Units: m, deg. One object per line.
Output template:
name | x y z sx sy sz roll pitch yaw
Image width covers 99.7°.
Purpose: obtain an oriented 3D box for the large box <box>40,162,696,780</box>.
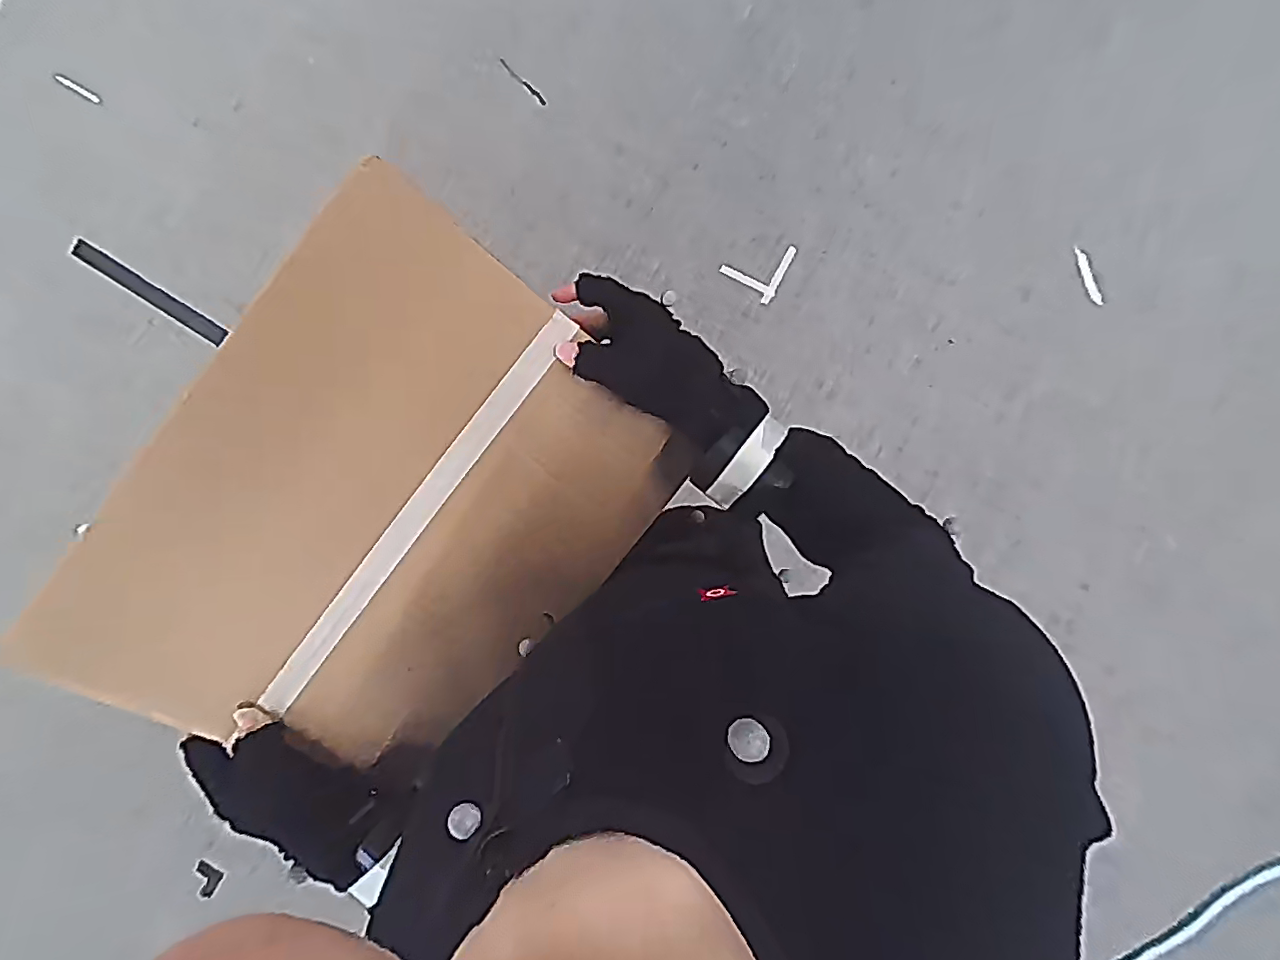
large box | -0.223 -0.008 0.551 0.320 0.320 0.408 37 93 -25
